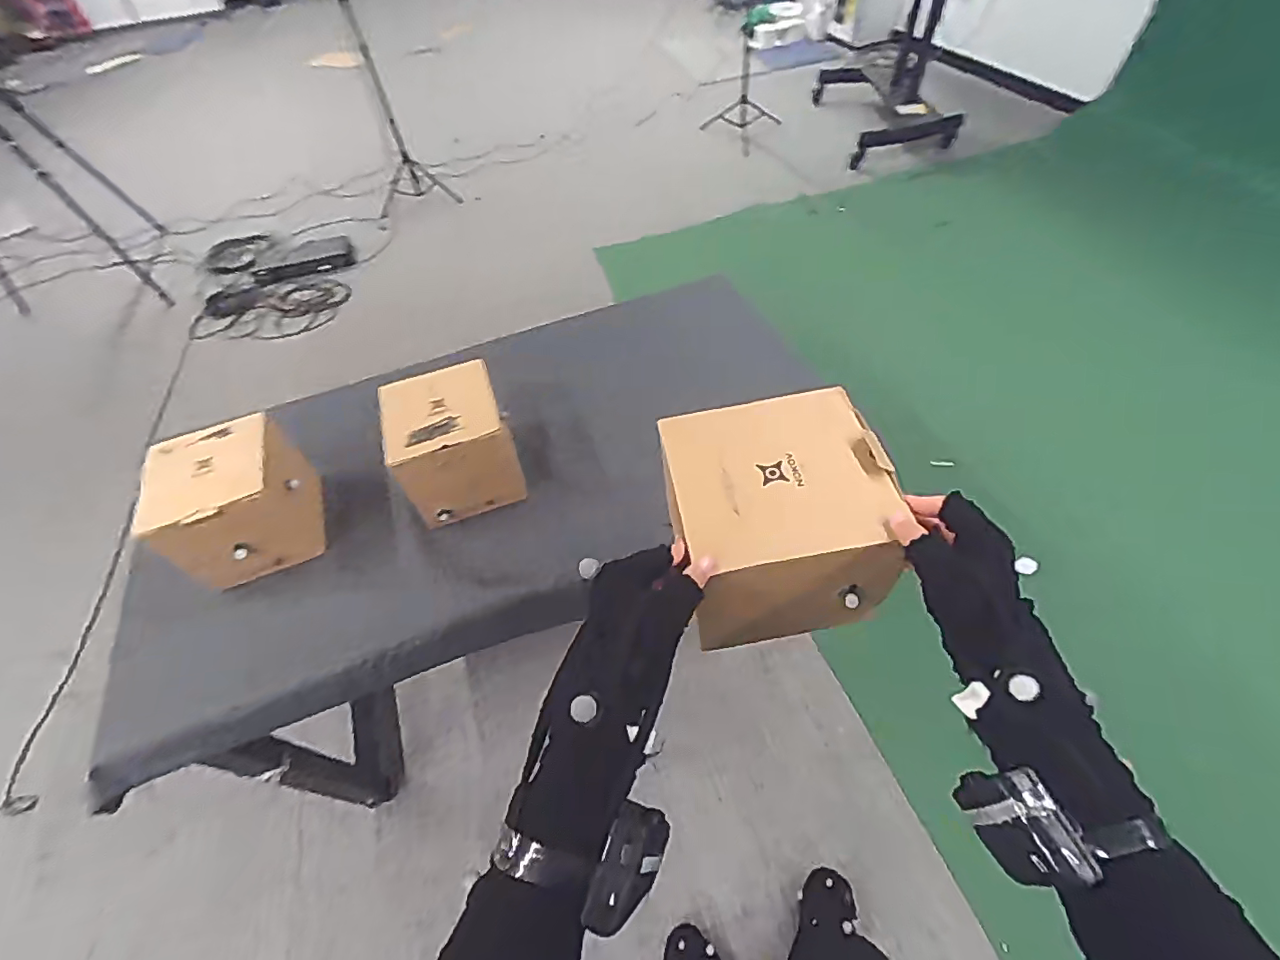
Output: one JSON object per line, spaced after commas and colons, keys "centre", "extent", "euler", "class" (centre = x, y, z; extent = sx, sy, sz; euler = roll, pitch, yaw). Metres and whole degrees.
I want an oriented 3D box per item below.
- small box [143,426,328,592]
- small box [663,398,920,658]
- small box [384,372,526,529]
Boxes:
{"centre": [-0.612, 0.053, 0.843], "extent": [0.168, 0.176, 0.179], "euler": [-21, 54, -11], "class": "small box"}
{"centre": [0.127, 0.051, 0.518], "extent": [0.179, 0.176, 0.168], "euler": [-12, 51, 1], "class": "small box"}
{"centre": [-0.297, -0.040, 0.885], "extent": [0.168, 0.176, 0.179], "euler": [-19, 52, -9], "class": "small box"}
